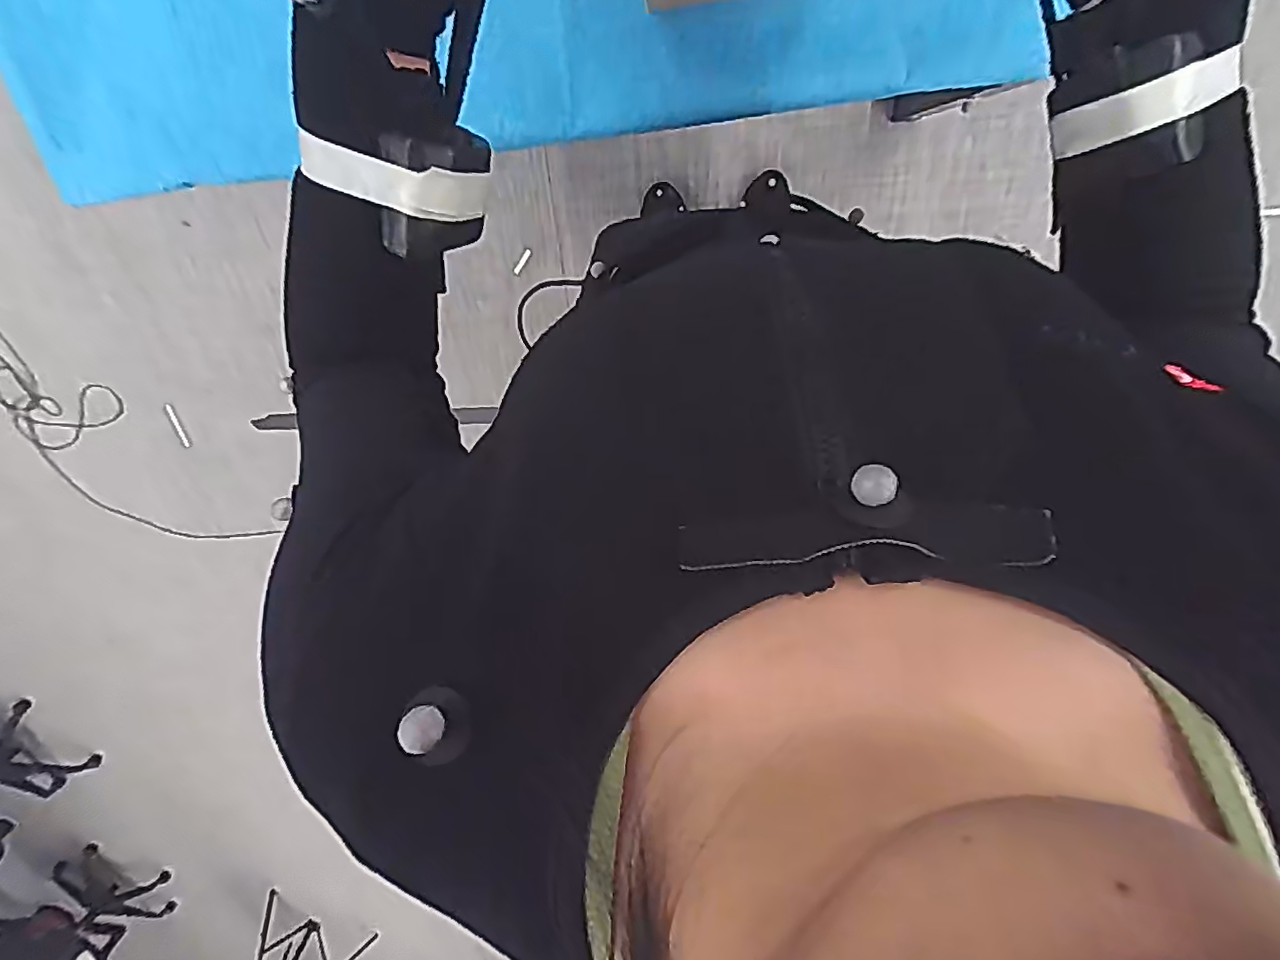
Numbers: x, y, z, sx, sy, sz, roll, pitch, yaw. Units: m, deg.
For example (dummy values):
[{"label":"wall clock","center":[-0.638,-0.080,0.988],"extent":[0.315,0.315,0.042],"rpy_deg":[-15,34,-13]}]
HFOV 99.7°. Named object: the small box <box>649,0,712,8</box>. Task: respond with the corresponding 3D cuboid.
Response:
[{"label":"small box","center":[0.075,-0.498,0.416],"extent":[0.179,0.176,0.168],"rpy_deg":[-2,119,7]}]
